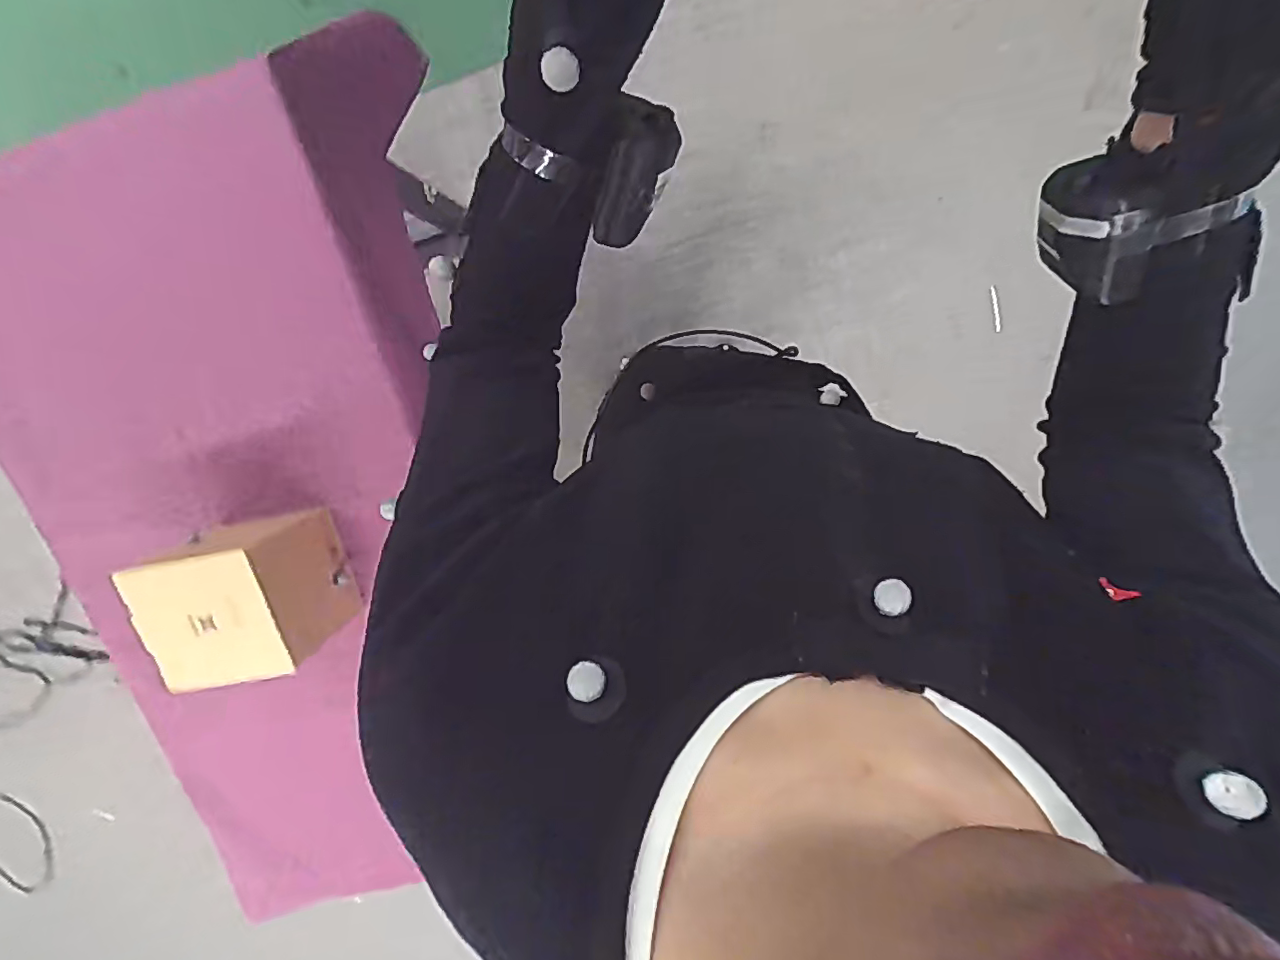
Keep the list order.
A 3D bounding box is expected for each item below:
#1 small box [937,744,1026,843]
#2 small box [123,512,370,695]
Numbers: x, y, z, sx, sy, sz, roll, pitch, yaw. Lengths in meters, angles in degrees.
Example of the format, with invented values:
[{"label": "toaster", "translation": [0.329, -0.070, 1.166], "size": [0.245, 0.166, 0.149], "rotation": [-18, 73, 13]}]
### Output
[{"label": "small box", "translation": [1.006, 0.918, 1.591], "size": [0.168, 0.176, 0.179], "rotation": [-16, 103, 7]}, {"label": "small box", "translation": [-0.504, 0.155, 0.722], "size": [0.179, 0.176, 0.168], "rotation": [-11, 105, 6]}]
